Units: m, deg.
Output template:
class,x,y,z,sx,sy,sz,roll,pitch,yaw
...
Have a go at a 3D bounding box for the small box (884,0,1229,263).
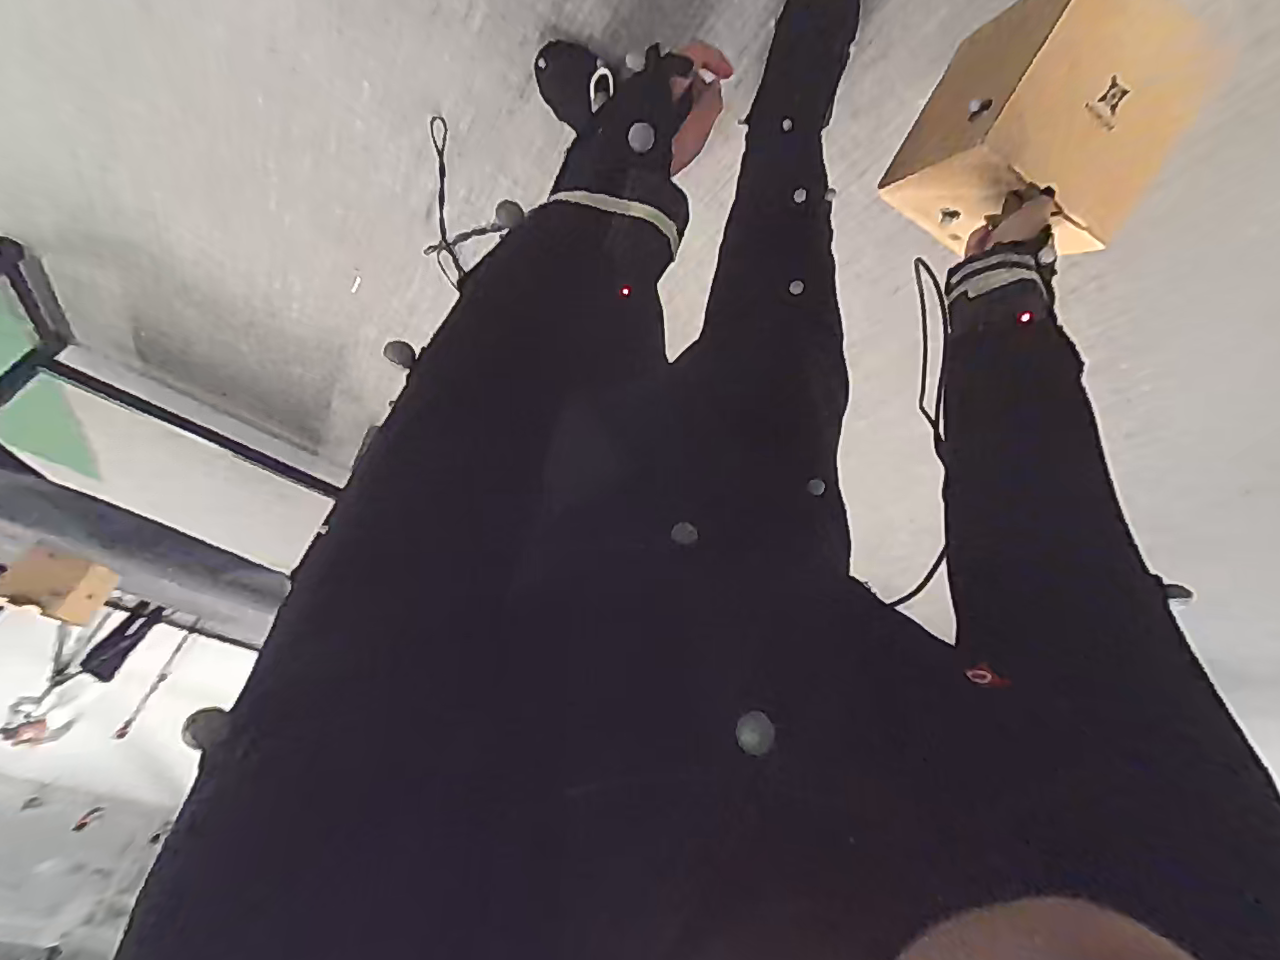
class,x,y,z,sx,sy,sz,roll,pitch,yaw
small box,0.383,-0.338,0.532,0.168,0.176,0.179,25,101,-15
